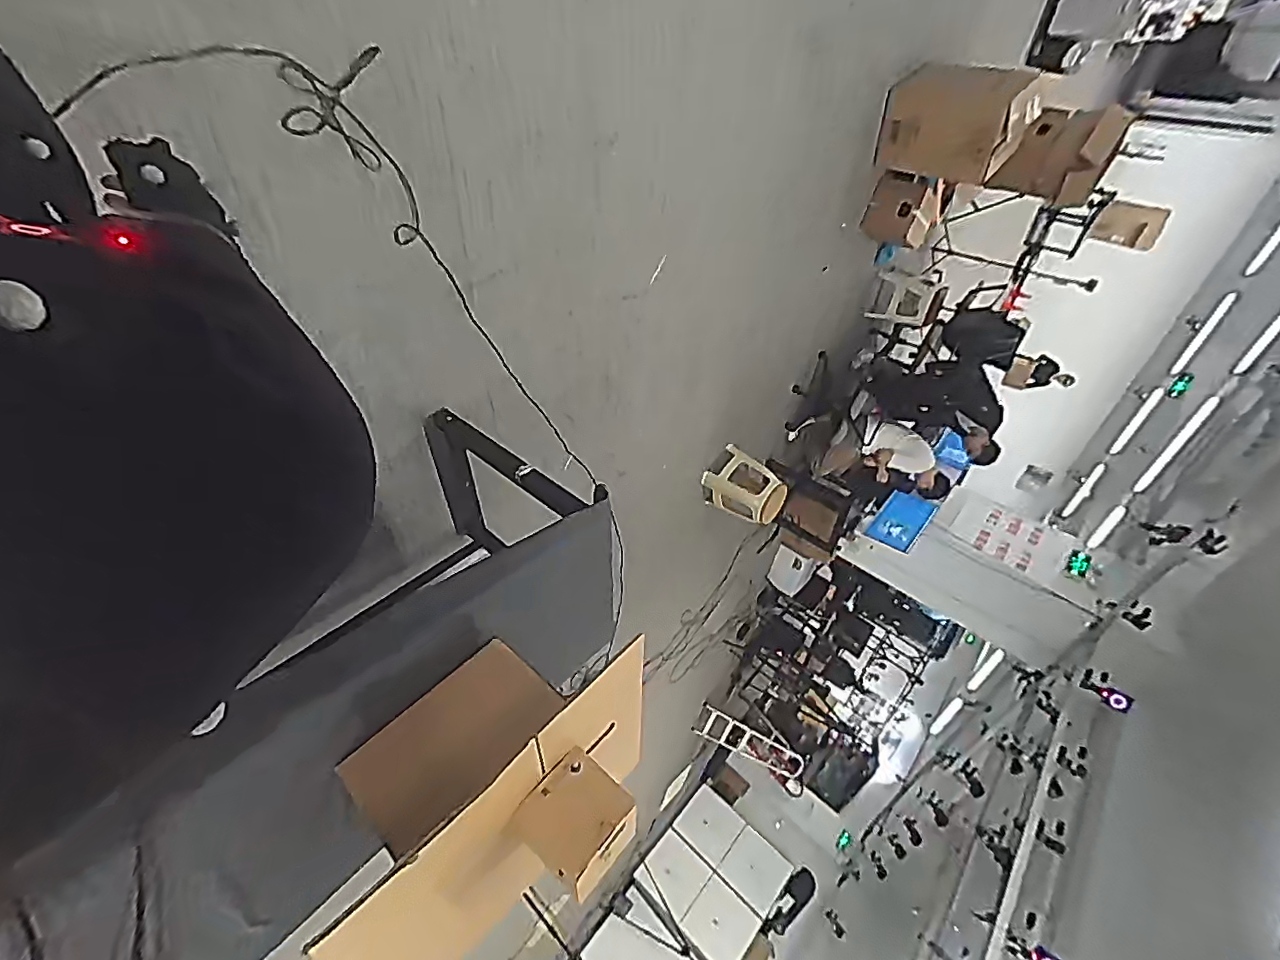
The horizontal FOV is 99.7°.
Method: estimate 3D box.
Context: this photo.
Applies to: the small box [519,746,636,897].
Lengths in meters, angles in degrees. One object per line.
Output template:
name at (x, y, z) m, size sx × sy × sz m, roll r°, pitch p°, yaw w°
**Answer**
small box at (-0.124, 0.671, 1.078) m, size 0.168 × 0.176 × 0.179 m, roll -36°, pitch 144°, yaw -36°
